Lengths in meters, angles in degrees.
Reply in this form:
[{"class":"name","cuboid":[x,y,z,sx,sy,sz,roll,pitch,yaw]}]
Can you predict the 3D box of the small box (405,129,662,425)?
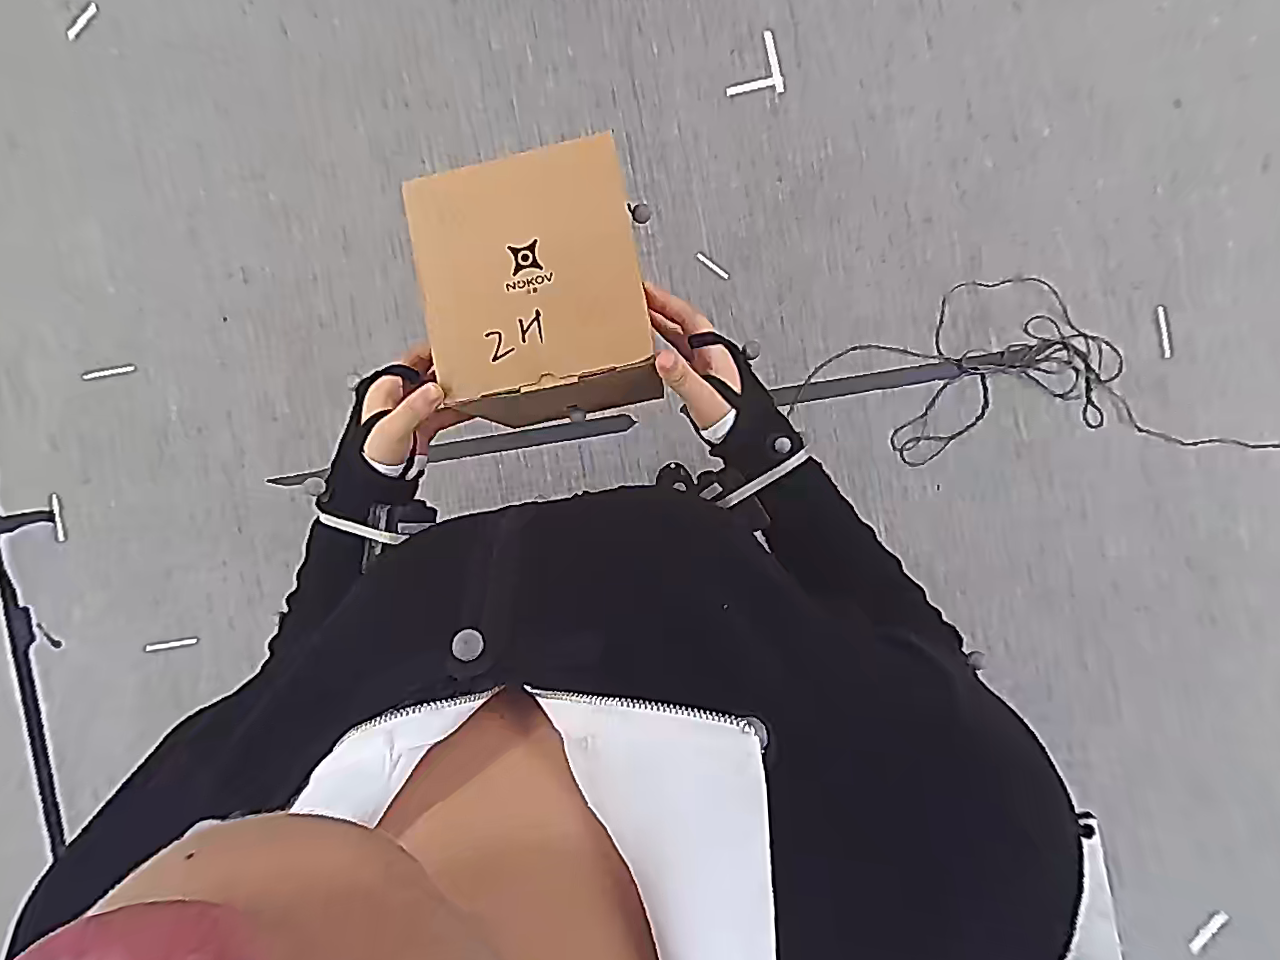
[{"class":"small box","cuboid":[-0.077,-0.157,0.476,0.168,0.176,0.179,-11,88,4]}]
